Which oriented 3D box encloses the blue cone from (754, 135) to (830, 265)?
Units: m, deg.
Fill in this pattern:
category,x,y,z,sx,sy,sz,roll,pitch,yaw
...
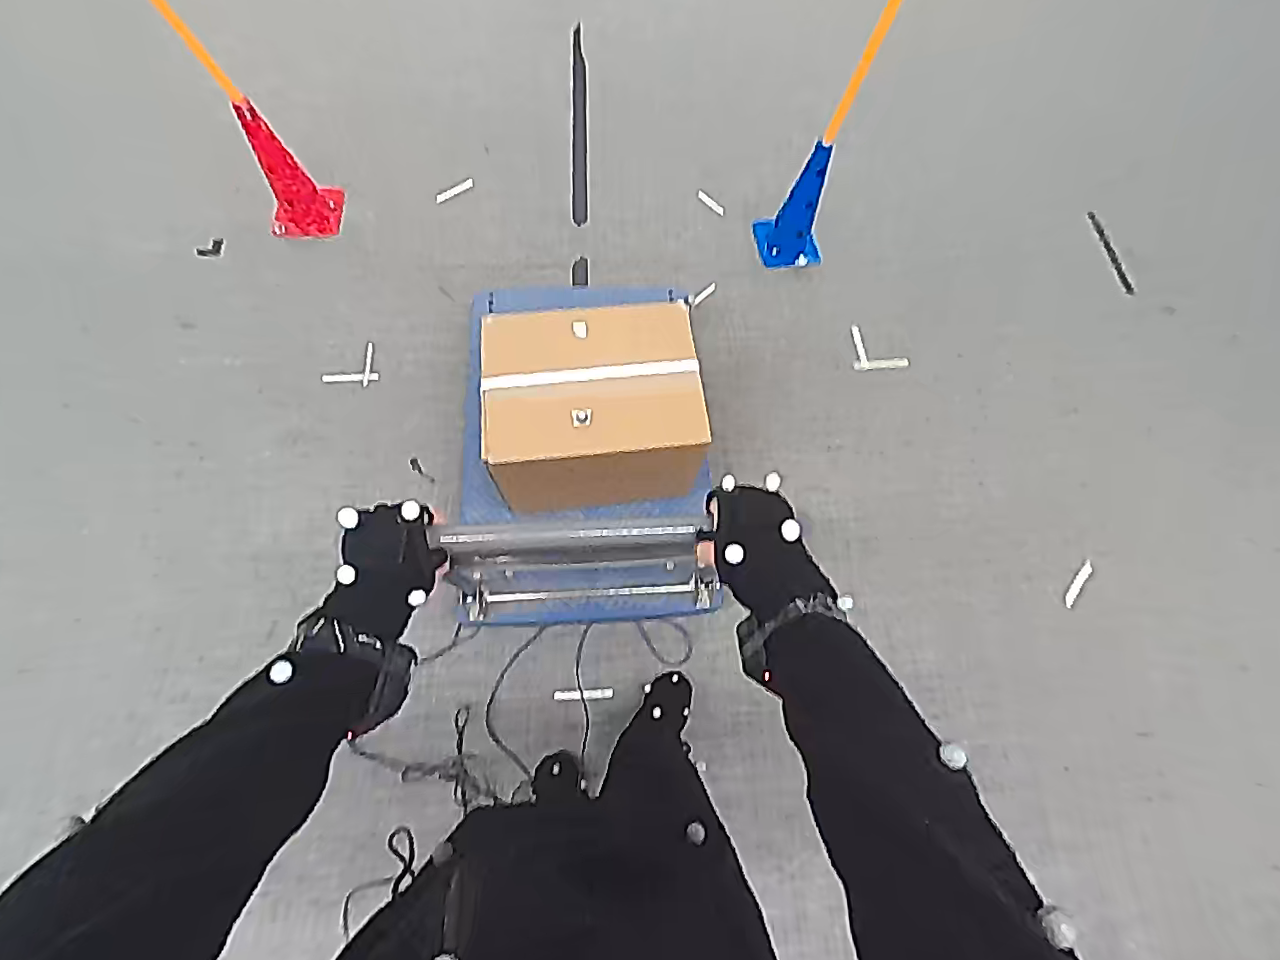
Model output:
category,x,y,z,sx,sy,sz,roll,pitch,yaw
blue cone,0.496,-0.853,1.649,0.193,0.380,0.192,-5,68,-6
